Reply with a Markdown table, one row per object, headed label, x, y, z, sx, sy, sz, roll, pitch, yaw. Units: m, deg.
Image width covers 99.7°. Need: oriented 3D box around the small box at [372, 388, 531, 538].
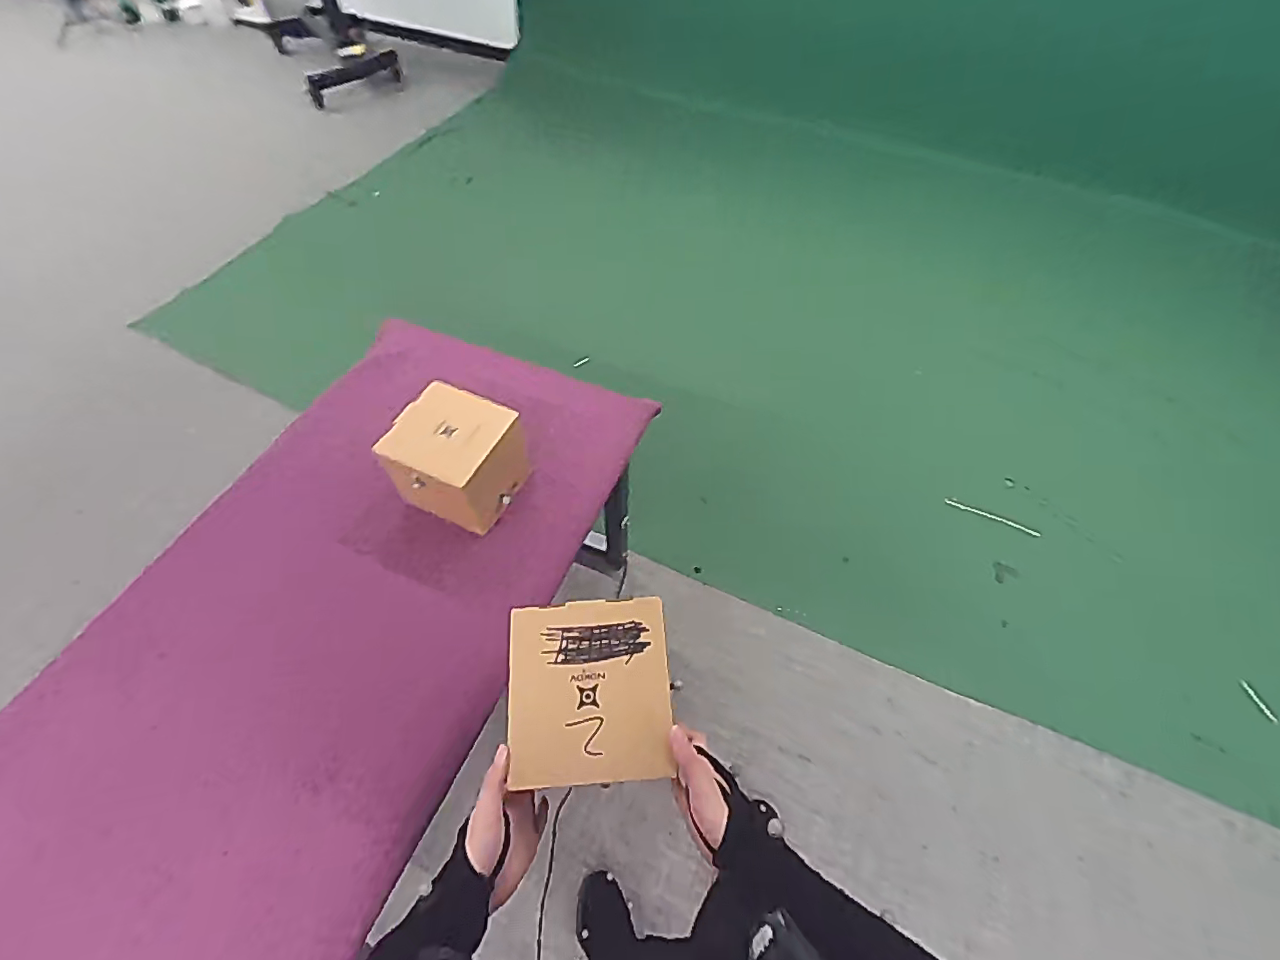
| label | x | y | z | sx | sy | sz | roll | pitch | yaw |
| --- | --- | --- | --- | --- | --- | --- | --- | --- | --- |
| small box | -0.314 | -0.024 | 0.939 | 0.179 | 0.176 | 0.168 | 22 | 59 | 14 |
